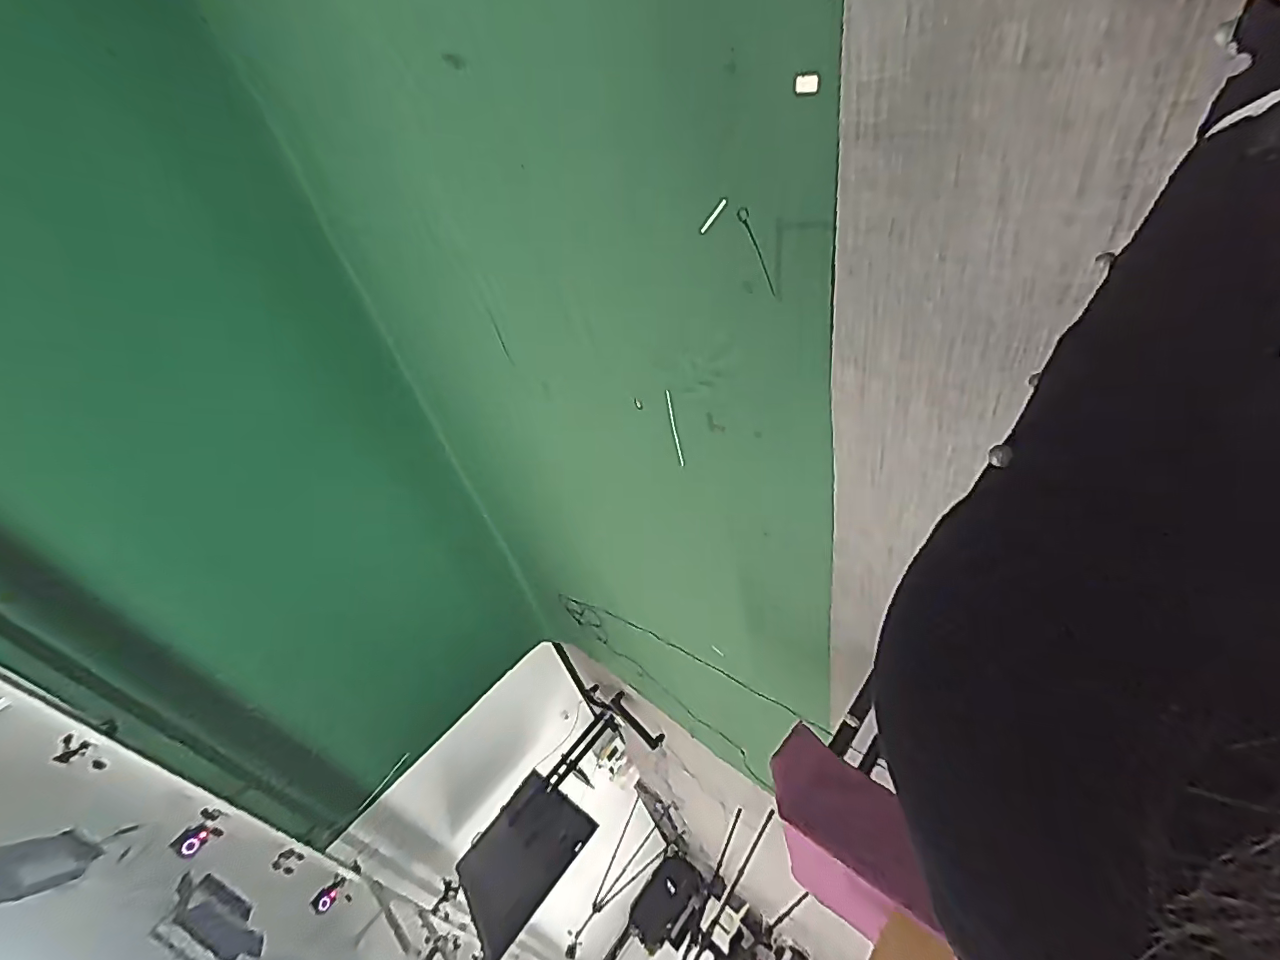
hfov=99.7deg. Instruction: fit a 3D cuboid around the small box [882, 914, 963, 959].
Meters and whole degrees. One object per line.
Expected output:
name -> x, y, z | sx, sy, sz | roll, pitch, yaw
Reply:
small box -> 0.753, 1.324, 1.448 | 0.179, 0.176, 0.168 | 21, 141, 39
